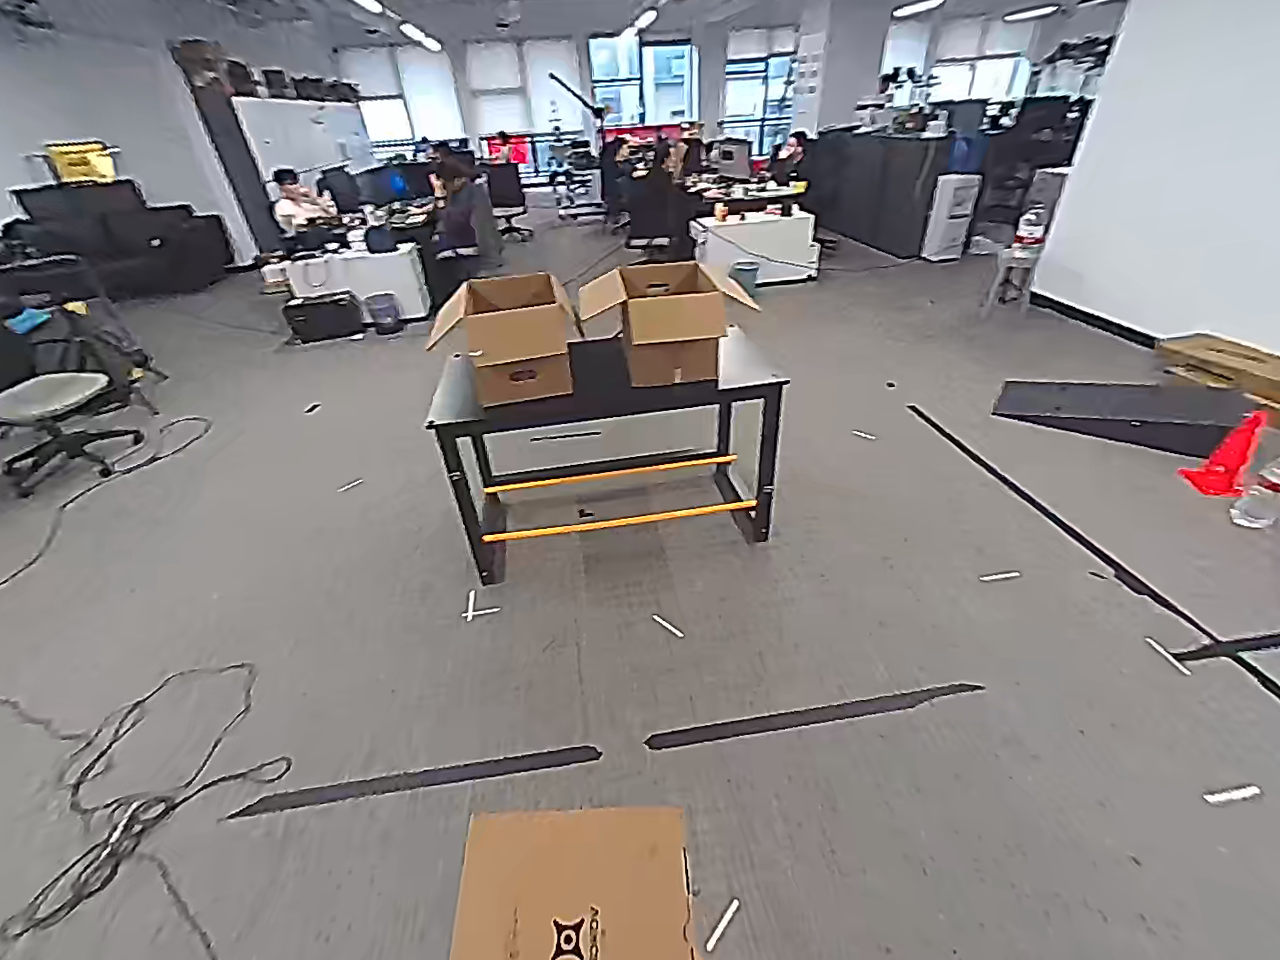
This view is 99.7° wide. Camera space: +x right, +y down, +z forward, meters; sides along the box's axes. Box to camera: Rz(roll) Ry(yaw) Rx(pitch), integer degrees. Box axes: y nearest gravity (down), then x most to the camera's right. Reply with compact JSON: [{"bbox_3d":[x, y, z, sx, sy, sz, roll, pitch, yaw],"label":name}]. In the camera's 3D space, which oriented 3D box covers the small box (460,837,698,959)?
[{"bbox_3d":[-0.044,0.411,0.443,0.179,0.176,0.168,-3,44,-2],"label":"small box"}]
